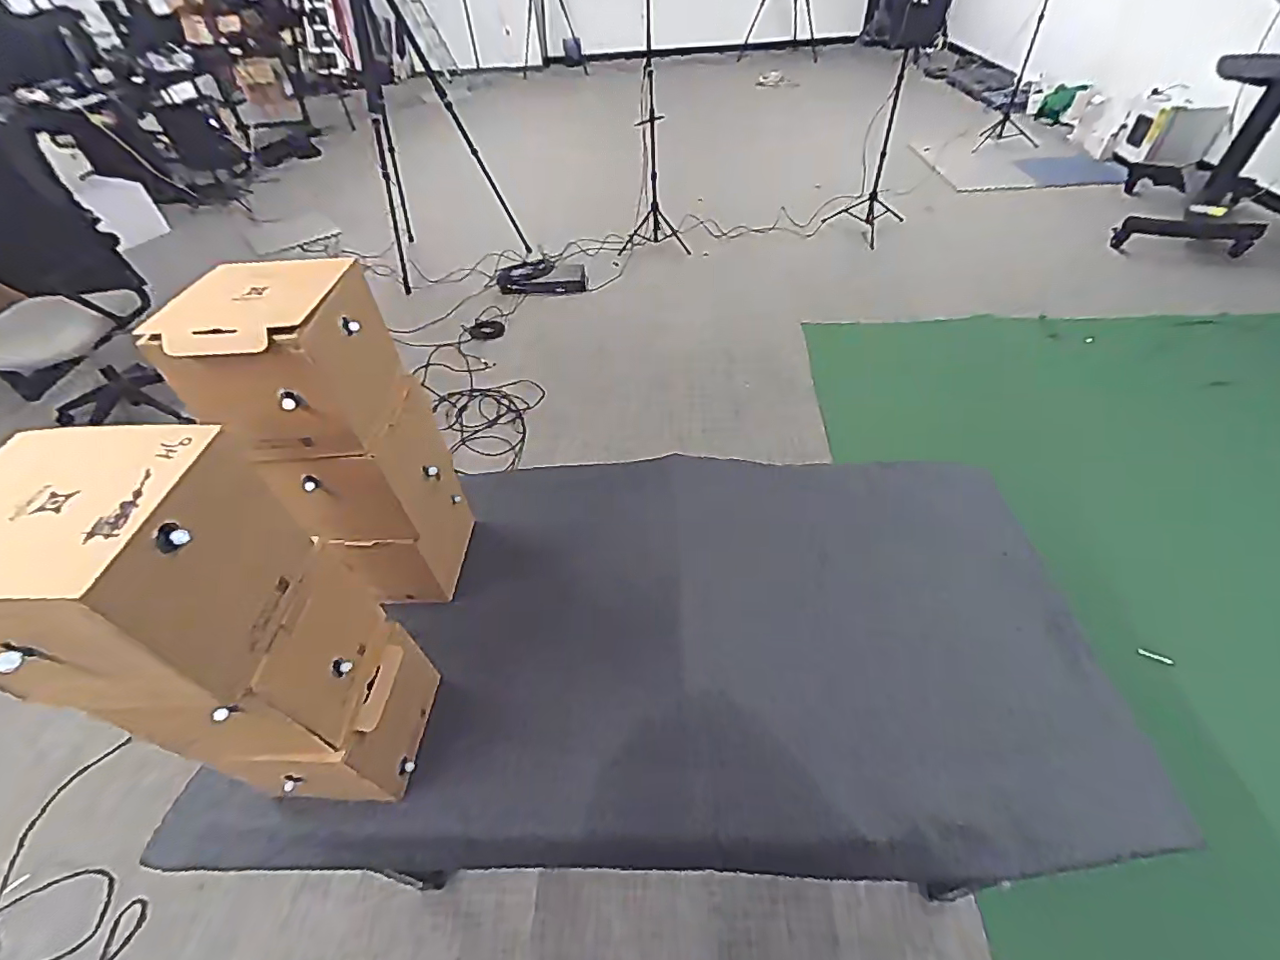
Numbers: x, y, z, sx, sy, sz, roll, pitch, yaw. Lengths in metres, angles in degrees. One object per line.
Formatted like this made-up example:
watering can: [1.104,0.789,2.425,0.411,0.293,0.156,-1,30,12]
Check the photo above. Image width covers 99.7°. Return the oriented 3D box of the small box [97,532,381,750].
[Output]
small box: [-0.411,0.174,0.573,0.179,0.176,0.168,-3,47,1]

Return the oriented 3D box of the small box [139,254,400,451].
small box: [-0.411,-0.146,0.645,0.168,0.176,0.179,-3,46,0]

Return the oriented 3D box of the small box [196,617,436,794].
small box: [-0.387,0.286,0.688,0.179,0.176,0.168,0,47,5]

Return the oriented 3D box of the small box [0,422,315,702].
small box: [-0.419,0.071,0.445,0.179,0.176,0.168,-2,47,3]

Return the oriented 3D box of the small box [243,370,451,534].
small box: [-0.395,-0.036,0.763,0.179,0.176,0.168,-1,48,4]
